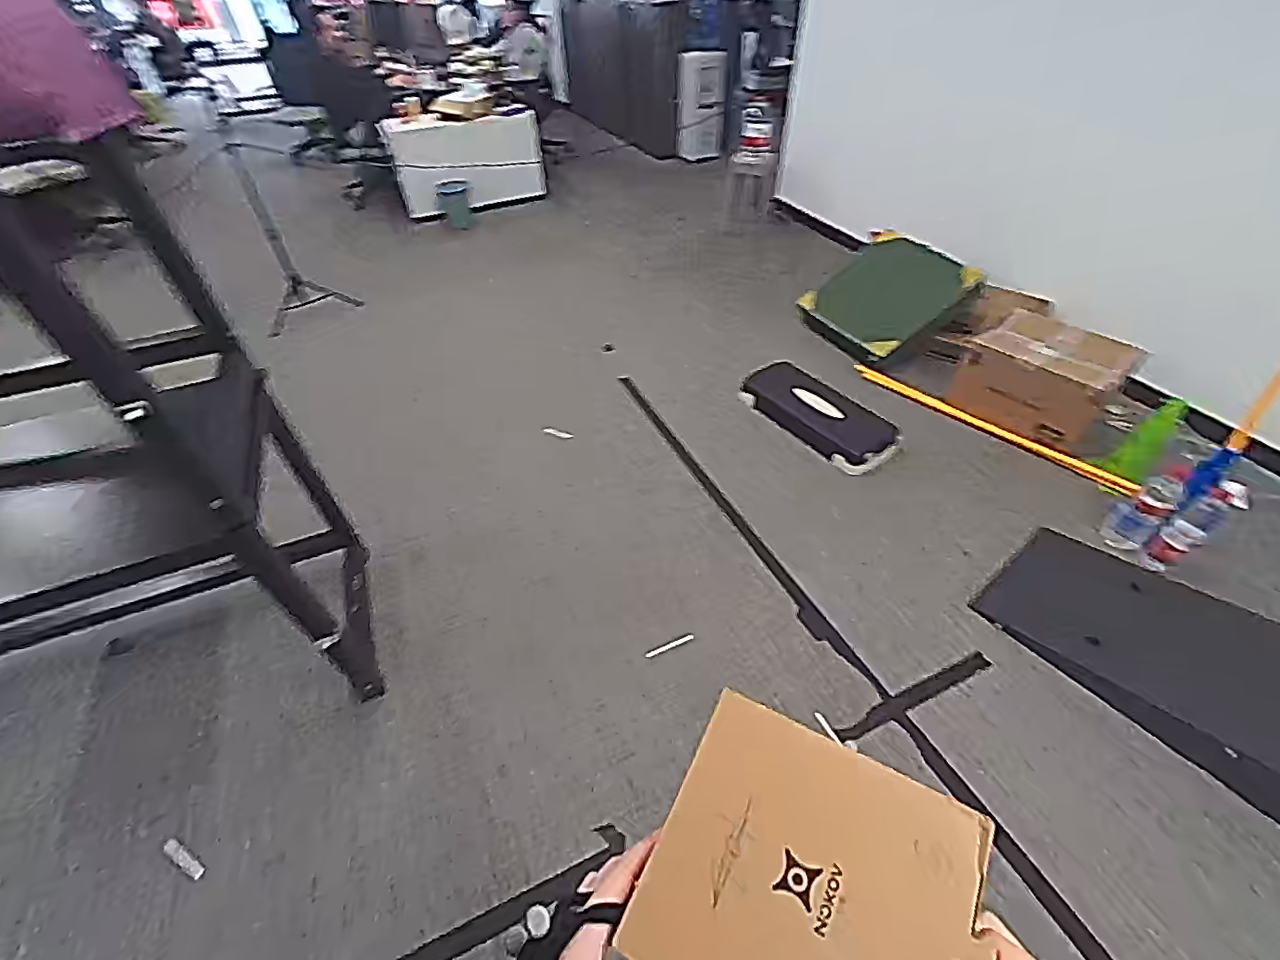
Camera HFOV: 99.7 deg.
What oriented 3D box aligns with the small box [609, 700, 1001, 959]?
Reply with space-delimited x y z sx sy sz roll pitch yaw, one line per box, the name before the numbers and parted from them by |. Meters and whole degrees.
small box | 0.108 0.285 0.370 0.179 0.176 0.168 19 59 25
